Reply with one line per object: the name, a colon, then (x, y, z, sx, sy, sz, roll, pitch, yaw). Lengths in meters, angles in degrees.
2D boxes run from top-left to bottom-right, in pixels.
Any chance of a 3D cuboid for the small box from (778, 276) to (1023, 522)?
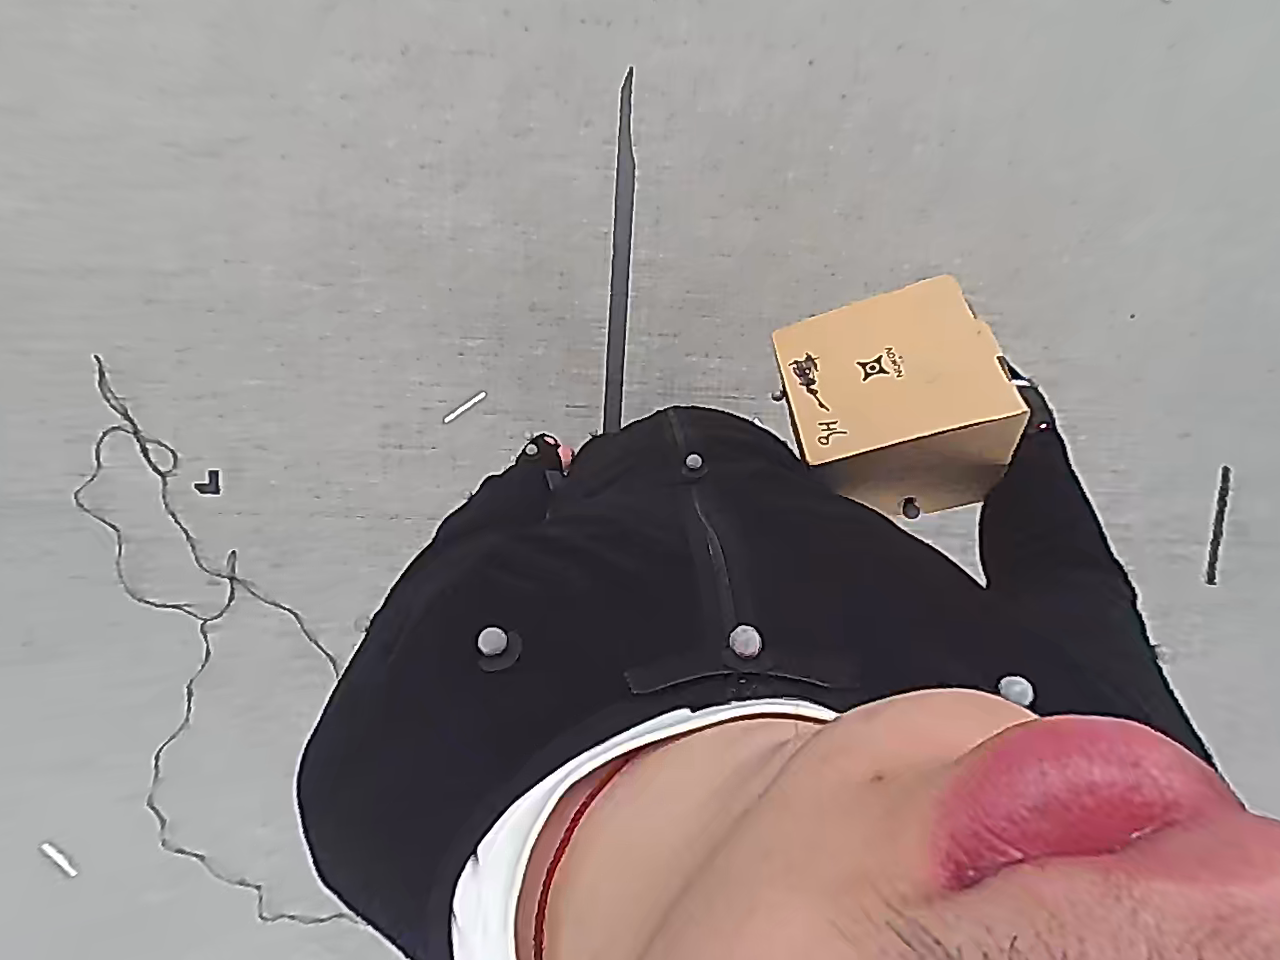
small box: (0.257, -0.073, 0.571, 0.179, 0.176, 0.168, -15, 58, 16)
